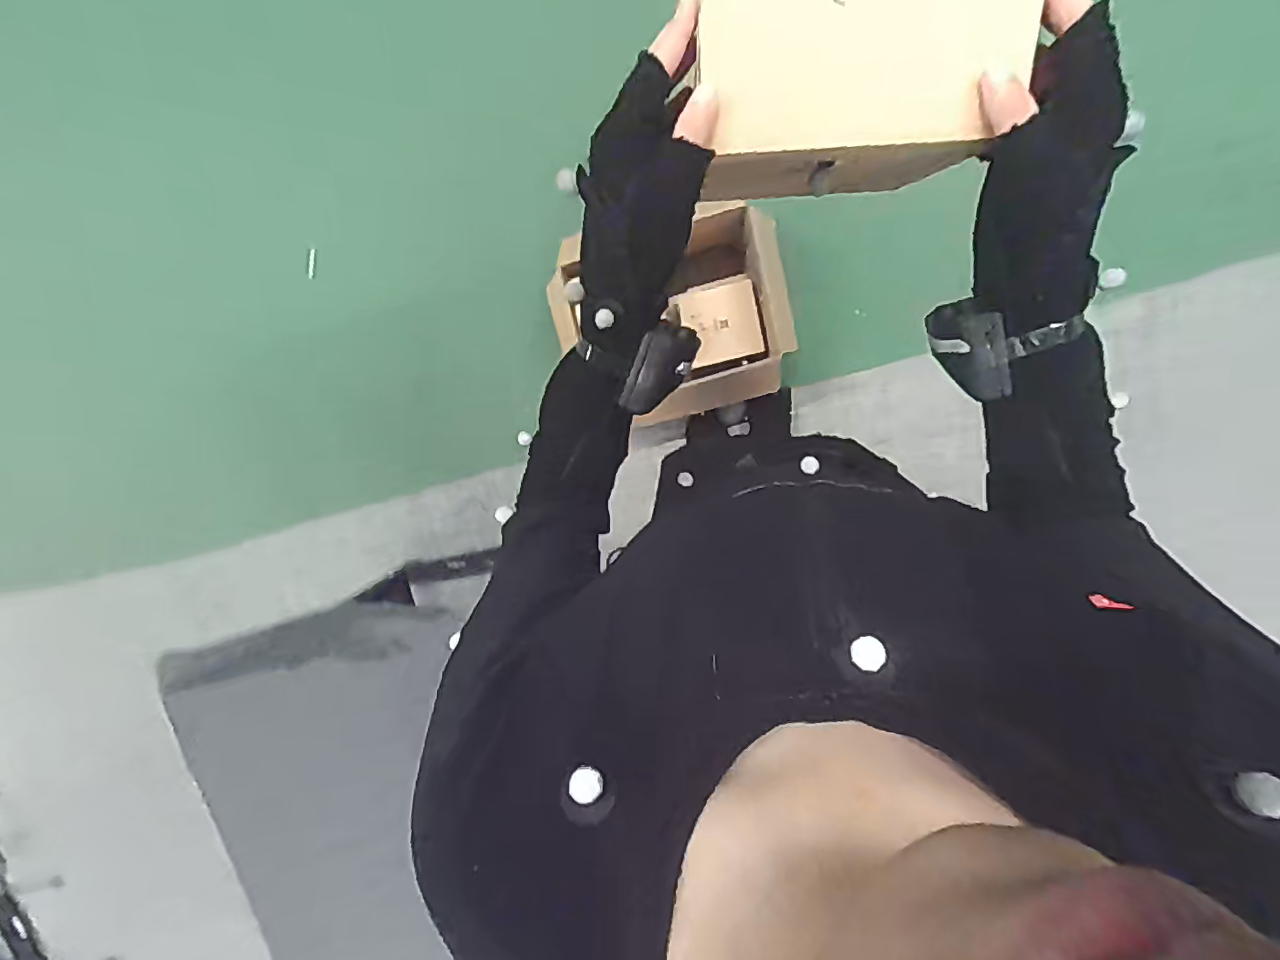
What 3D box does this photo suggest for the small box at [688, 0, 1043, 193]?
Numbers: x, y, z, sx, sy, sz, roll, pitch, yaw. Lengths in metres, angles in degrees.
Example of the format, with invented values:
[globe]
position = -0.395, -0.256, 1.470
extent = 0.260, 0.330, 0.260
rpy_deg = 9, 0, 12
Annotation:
[small box]
position = 0.121, -0.287, 0.342
extent = 0.179, 0.176, 0.168
rpy_deg = 0, 110, 5
